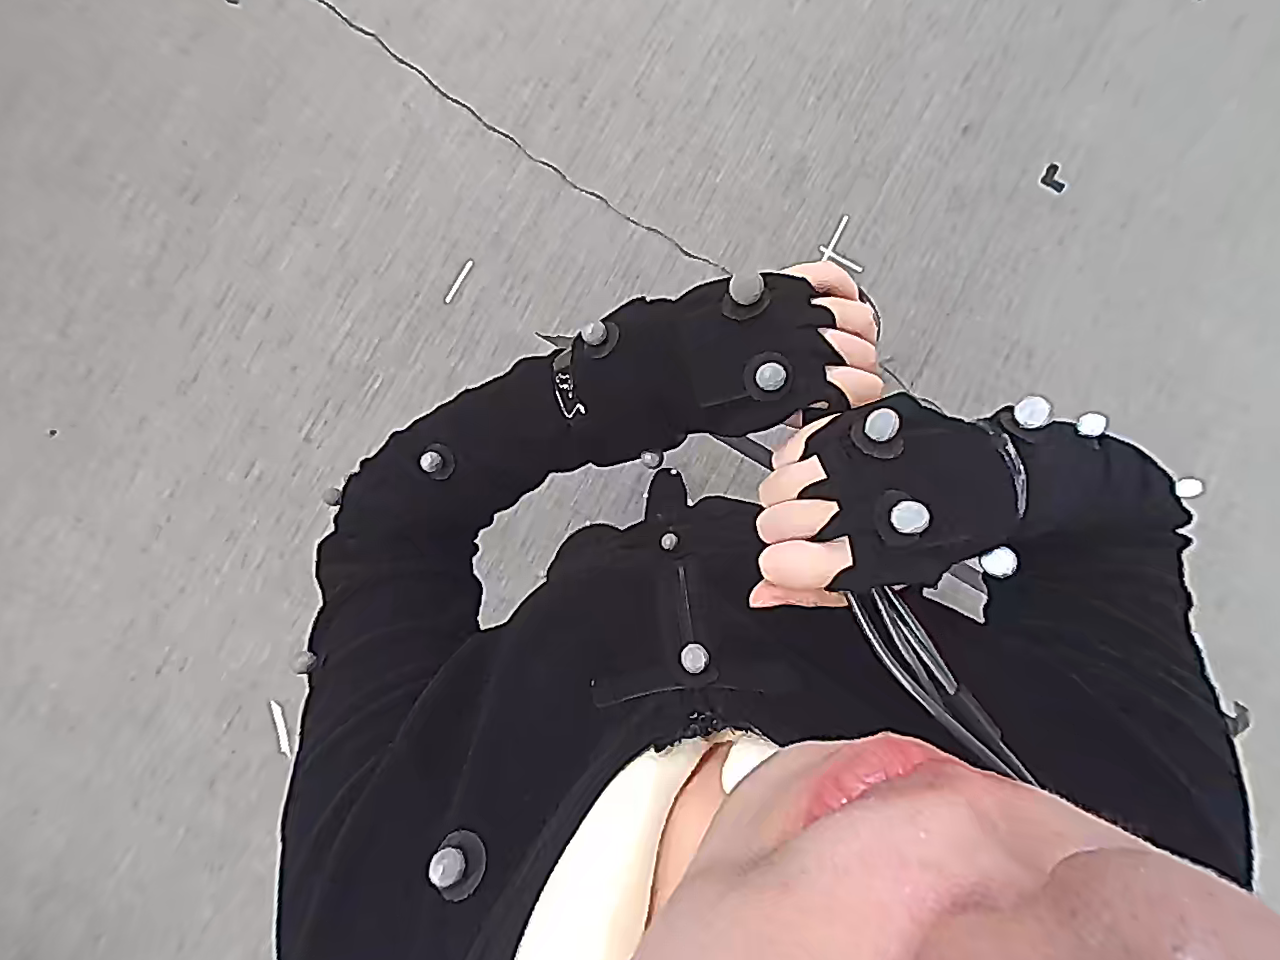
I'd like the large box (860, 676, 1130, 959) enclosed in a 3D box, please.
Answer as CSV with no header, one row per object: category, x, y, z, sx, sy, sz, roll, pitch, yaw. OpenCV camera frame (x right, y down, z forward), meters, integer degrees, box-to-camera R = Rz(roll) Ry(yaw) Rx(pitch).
large box,0.731,0.700,1.169,0.320,0.320,0.408,18,89,1
